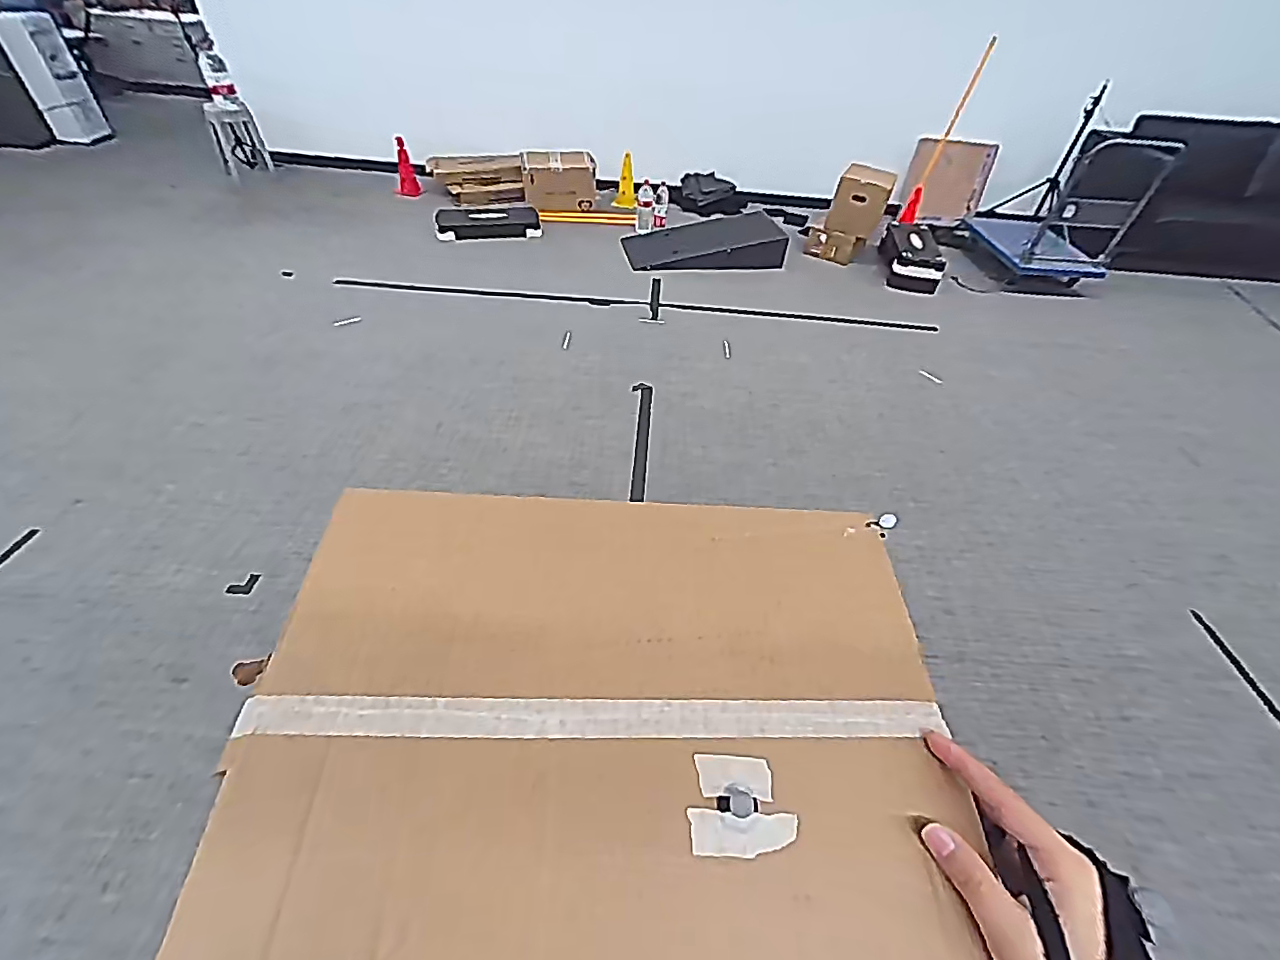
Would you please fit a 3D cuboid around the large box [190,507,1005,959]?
[{"bbox_3d":[-0.029,0.240,0.444,0.408,0.320,0.320,3,53,-6],"label":"large box"}]
